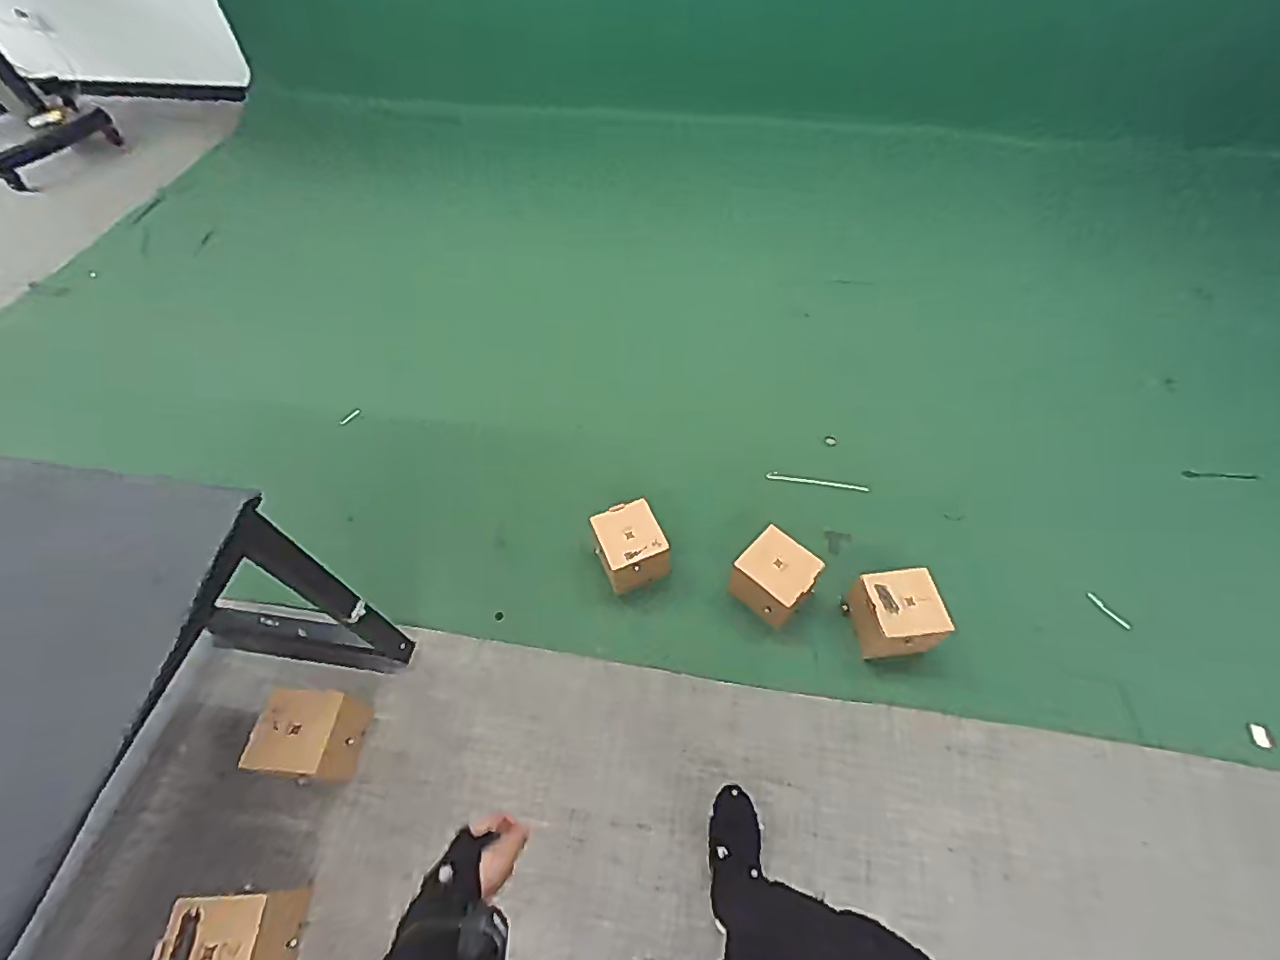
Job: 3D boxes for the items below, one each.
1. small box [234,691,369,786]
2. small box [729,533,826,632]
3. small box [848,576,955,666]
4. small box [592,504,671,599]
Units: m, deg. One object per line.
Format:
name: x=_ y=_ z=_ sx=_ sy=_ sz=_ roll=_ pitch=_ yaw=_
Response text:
small box: x=-0.759 y=0.595 z=1.239 sx=0.179 sy=0.176 sz=0.168 roll=3 pitch=55 yaw=3
small box: x=0.358 y=0.280 z=1.437 sx=0.179 sy=0.176 sz=0.168 roll=38 pitch=63 yaw=25
small box: x=0.648 y=0.362 z=1.374 sx=0.179 sy=0.176 sz=0.168 roll=-5 pitch=56 yaw=-4
small box: x=-0.026 y=0.200 z=1.500 sx=0.168 sy=0.176 sz=0.179 roll=-19 pitch=57 yaw=-12
